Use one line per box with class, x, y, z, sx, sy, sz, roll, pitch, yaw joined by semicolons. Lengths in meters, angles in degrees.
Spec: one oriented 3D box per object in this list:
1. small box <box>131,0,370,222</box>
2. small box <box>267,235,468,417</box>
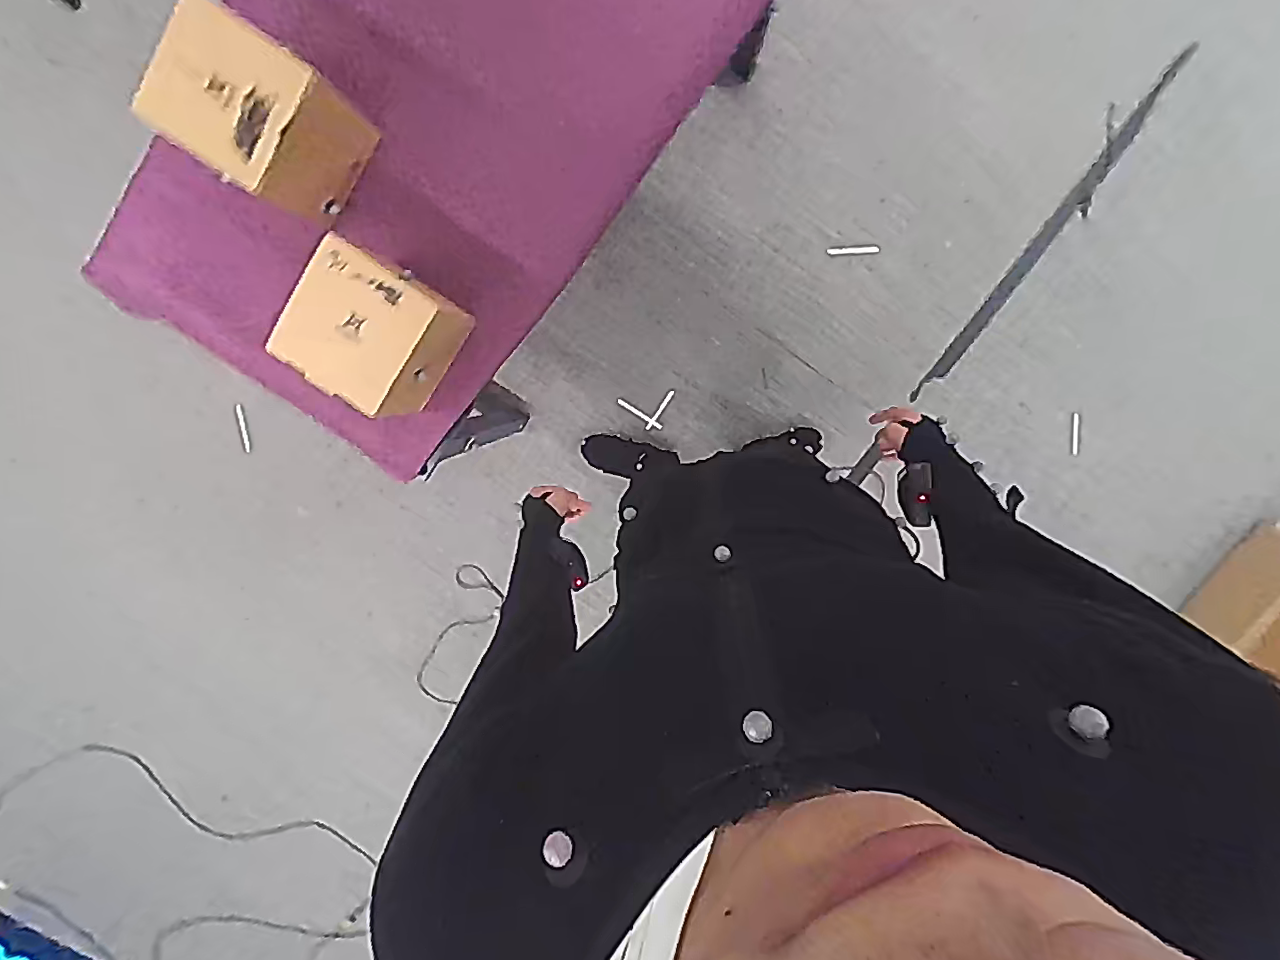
small box;-0.513;-0.483;0.741;0.179;0.176;0.168;33;98;-5
small box;-0.378;-0.212;0.784;0.168;0.176;0.179;34;99;-5
